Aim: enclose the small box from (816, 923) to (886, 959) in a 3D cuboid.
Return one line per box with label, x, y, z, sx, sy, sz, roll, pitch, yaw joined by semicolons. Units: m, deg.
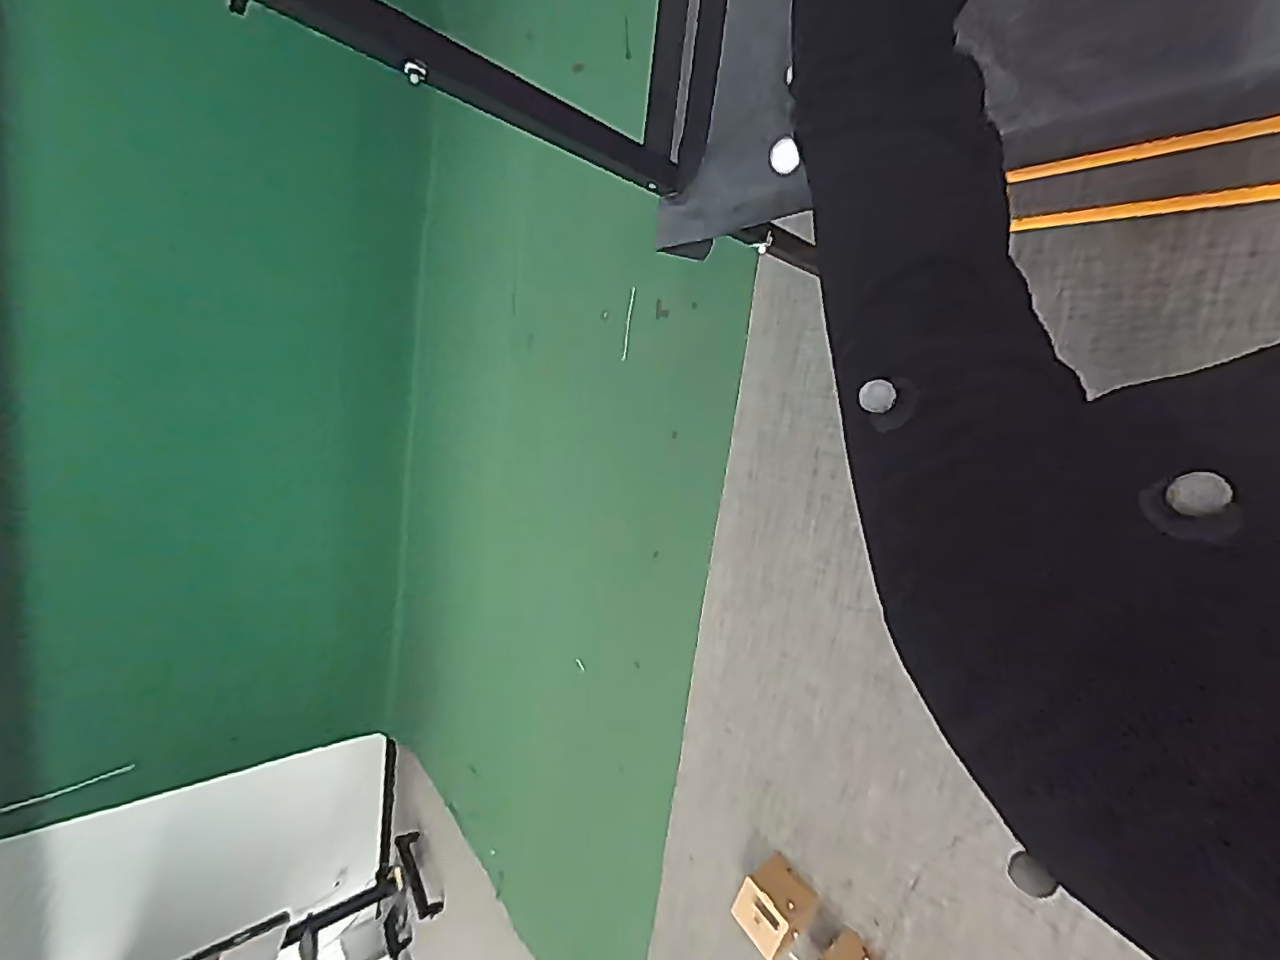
small box;0.586;1.411;1.510;0.168;0.176;0.179;29;110;44
